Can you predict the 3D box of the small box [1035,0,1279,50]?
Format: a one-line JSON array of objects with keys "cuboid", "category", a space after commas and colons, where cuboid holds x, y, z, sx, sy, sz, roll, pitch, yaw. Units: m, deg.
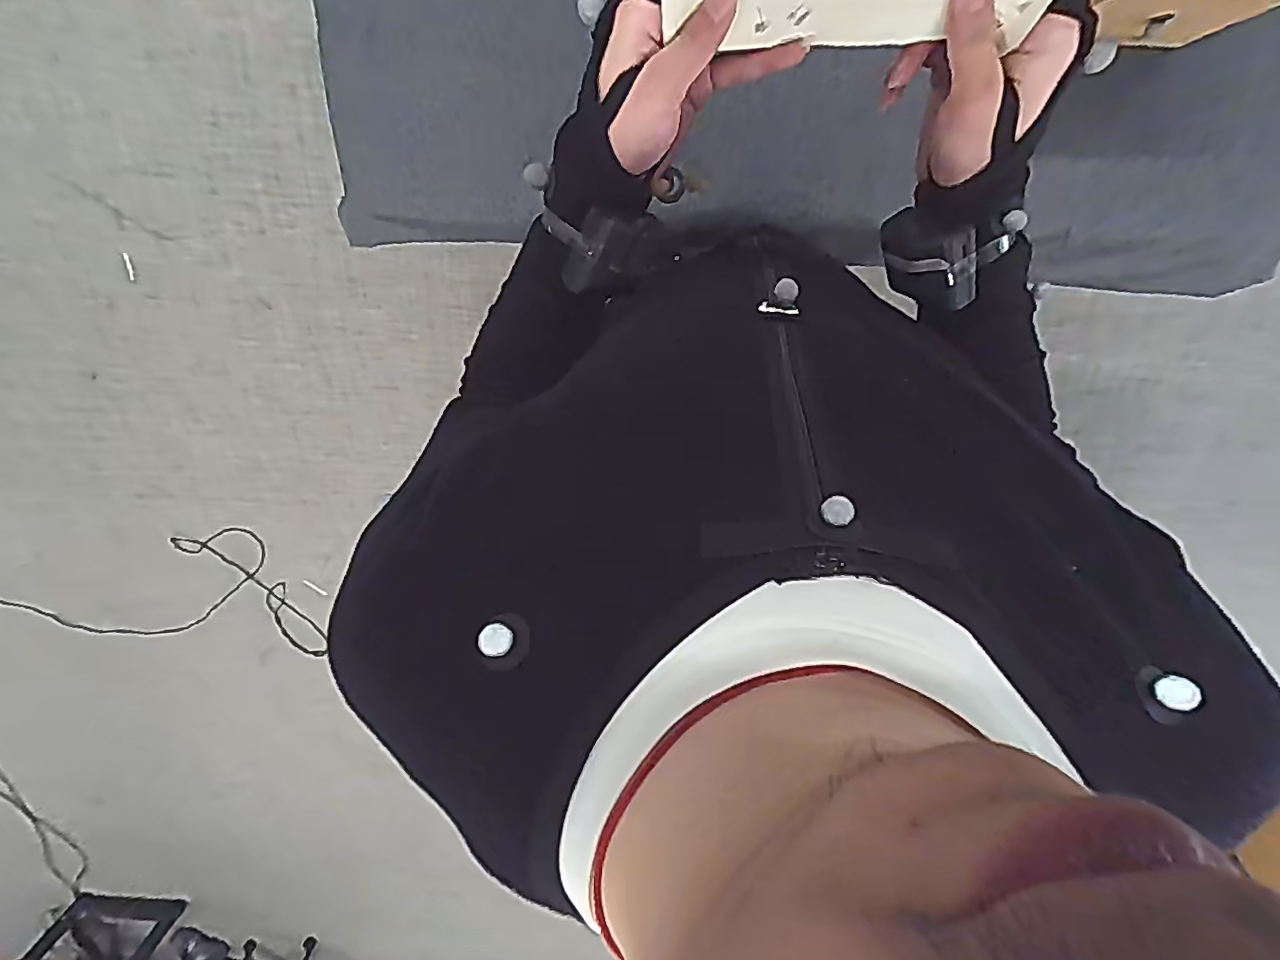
[{"cuboid": [0.520, -0.533, 0.509, 0.168, 0.176, 0.179, 3, 115, 3], "category": "small box"}]
